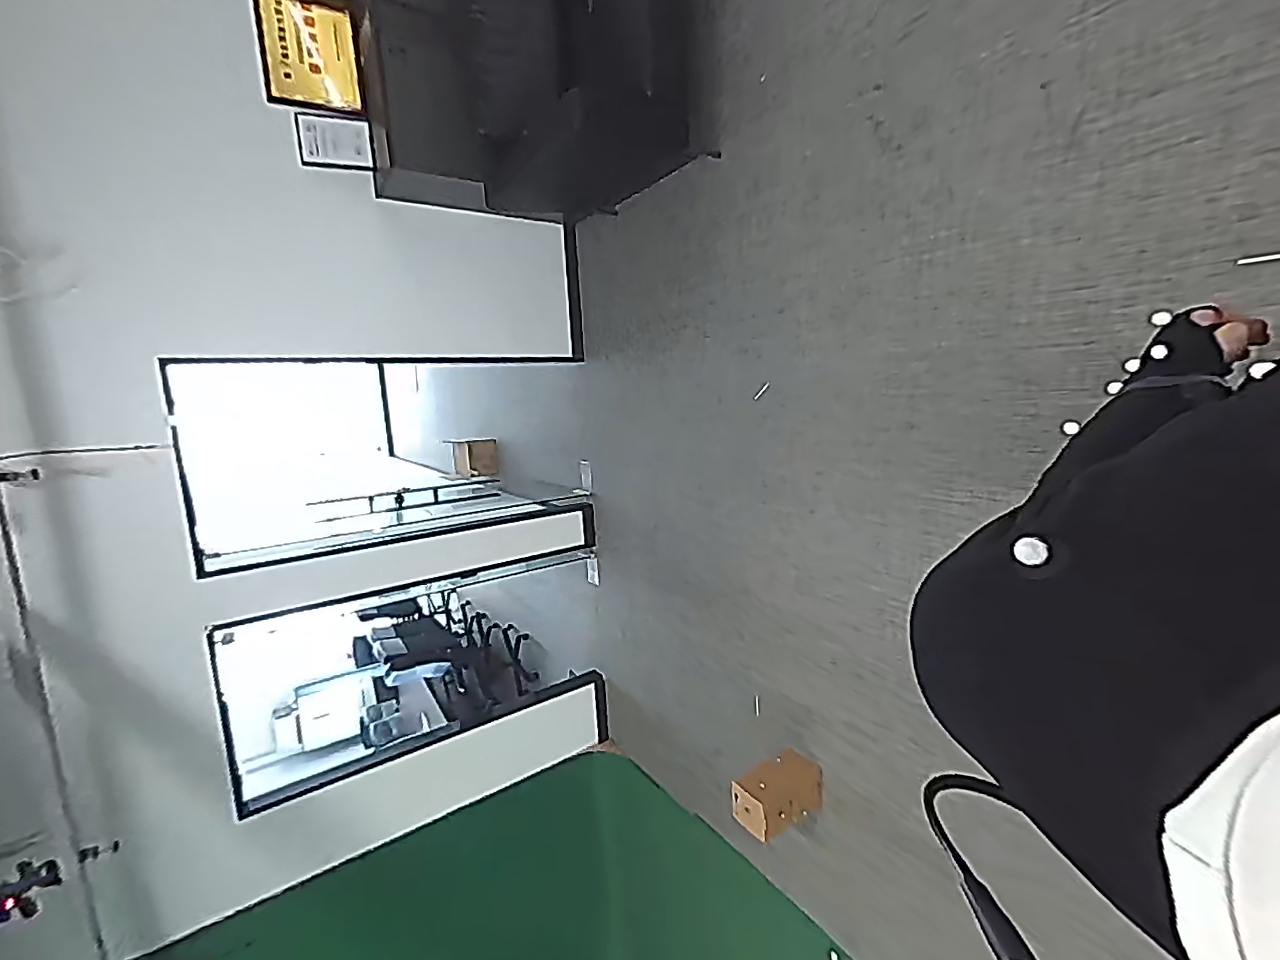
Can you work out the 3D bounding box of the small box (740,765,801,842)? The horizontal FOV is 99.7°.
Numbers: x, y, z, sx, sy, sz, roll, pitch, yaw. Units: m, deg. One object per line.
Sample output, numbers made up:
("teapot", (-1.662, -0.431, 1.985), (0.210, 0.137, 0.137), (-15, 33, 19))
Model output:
("small box", (0.521, 1.275, 2.148), (0.179, 0.176, 0.168), (10, 105, 56))
